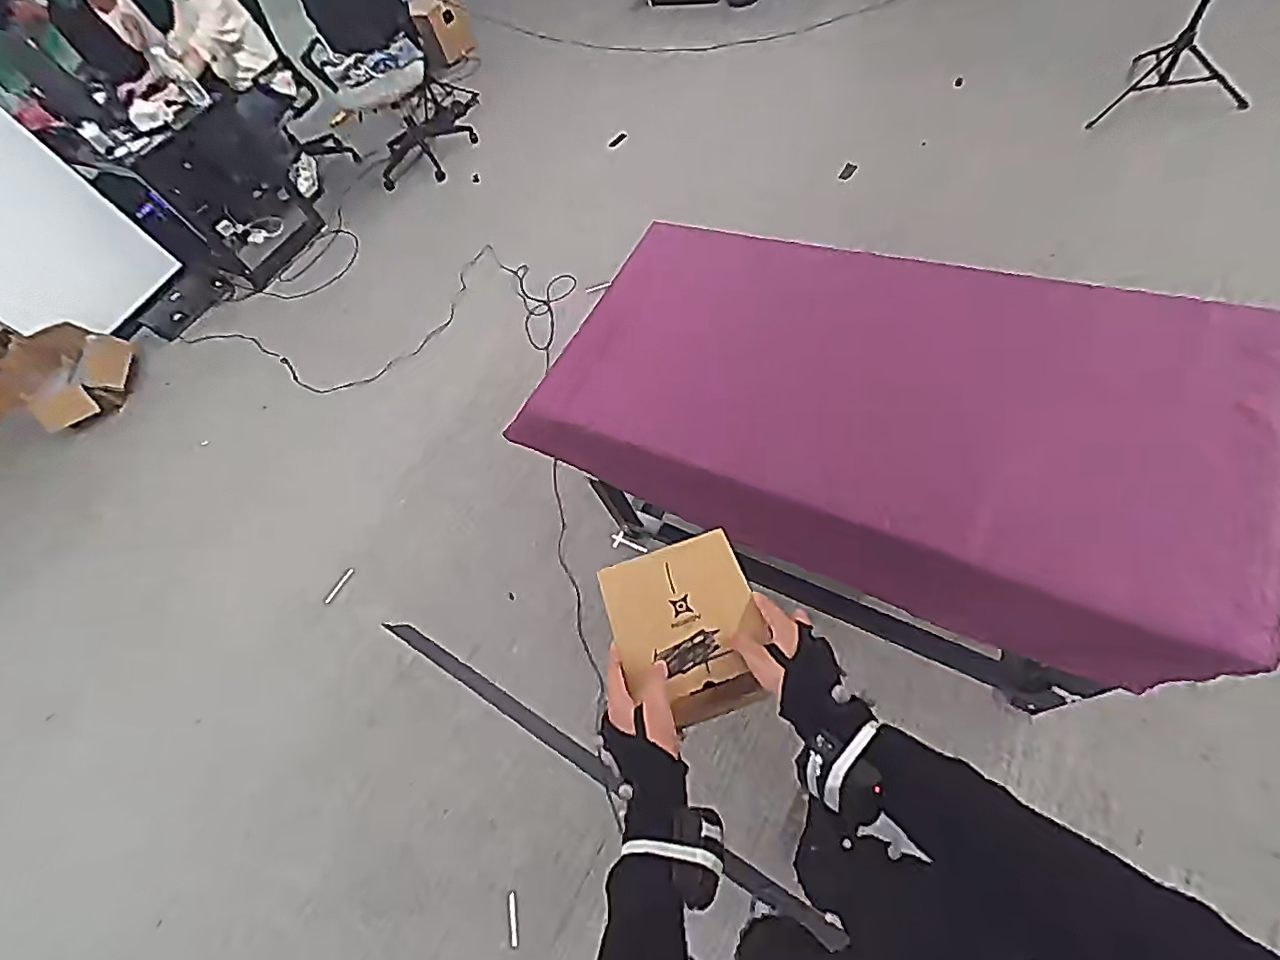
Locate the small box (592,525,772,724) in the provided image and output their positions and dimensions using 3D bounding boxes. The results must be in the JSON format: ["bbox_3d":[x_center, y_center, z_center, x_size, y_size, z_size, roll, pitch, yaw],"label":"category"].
[{"bbox_3d":[0.054,0.190,0.679,0.168,0.176,0.179,-19,55,-3],"label":"small box"}]
